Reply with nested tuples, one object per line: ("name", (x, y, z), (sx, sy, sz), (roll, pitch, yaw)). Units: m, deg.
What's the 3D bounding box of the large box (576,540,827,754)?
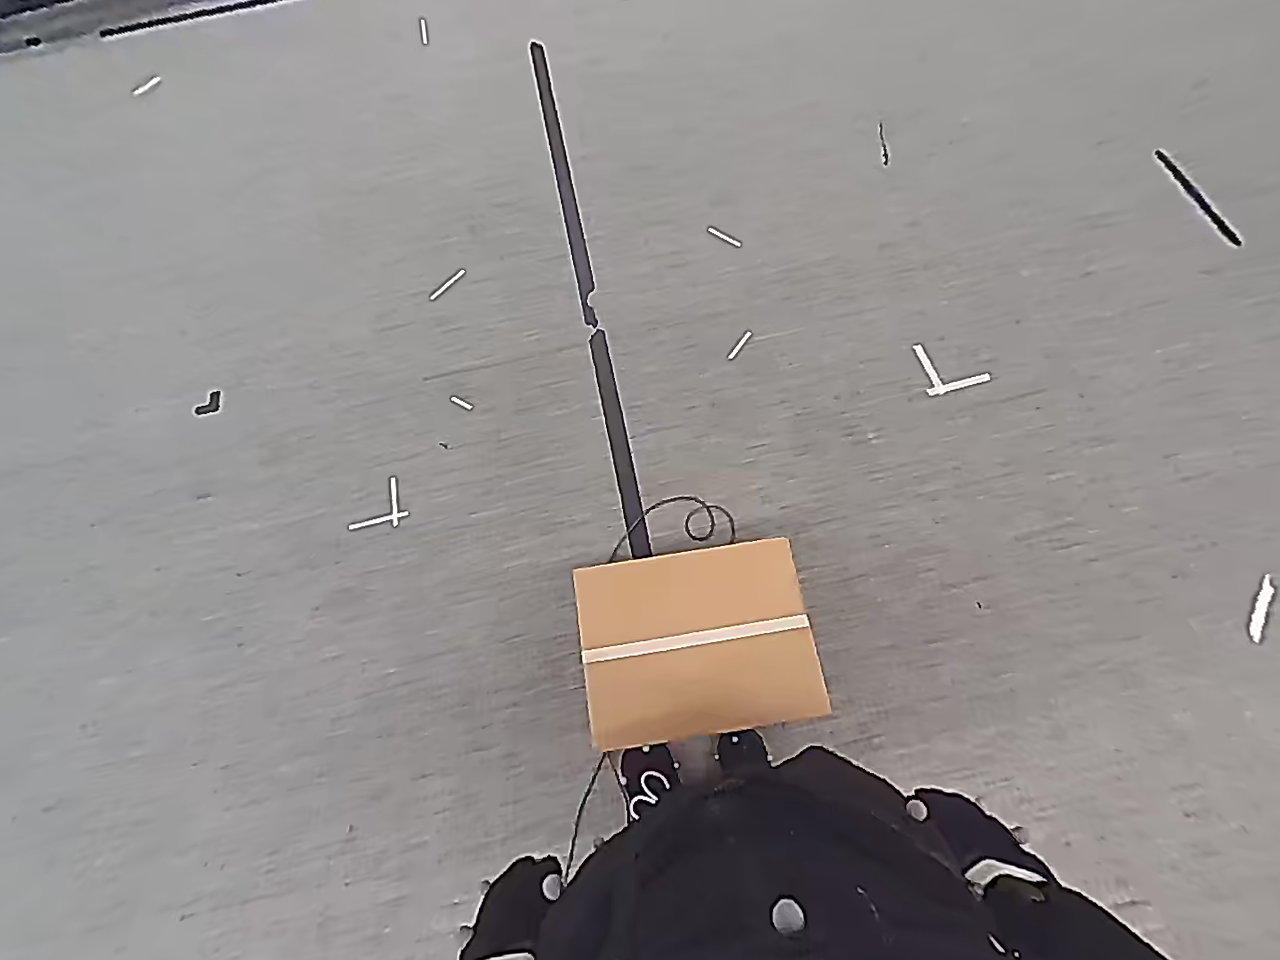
("large box", (0.105, 0.335, 1.097), (0.408, 0.320, 0.320), (-9, 68, -1))
